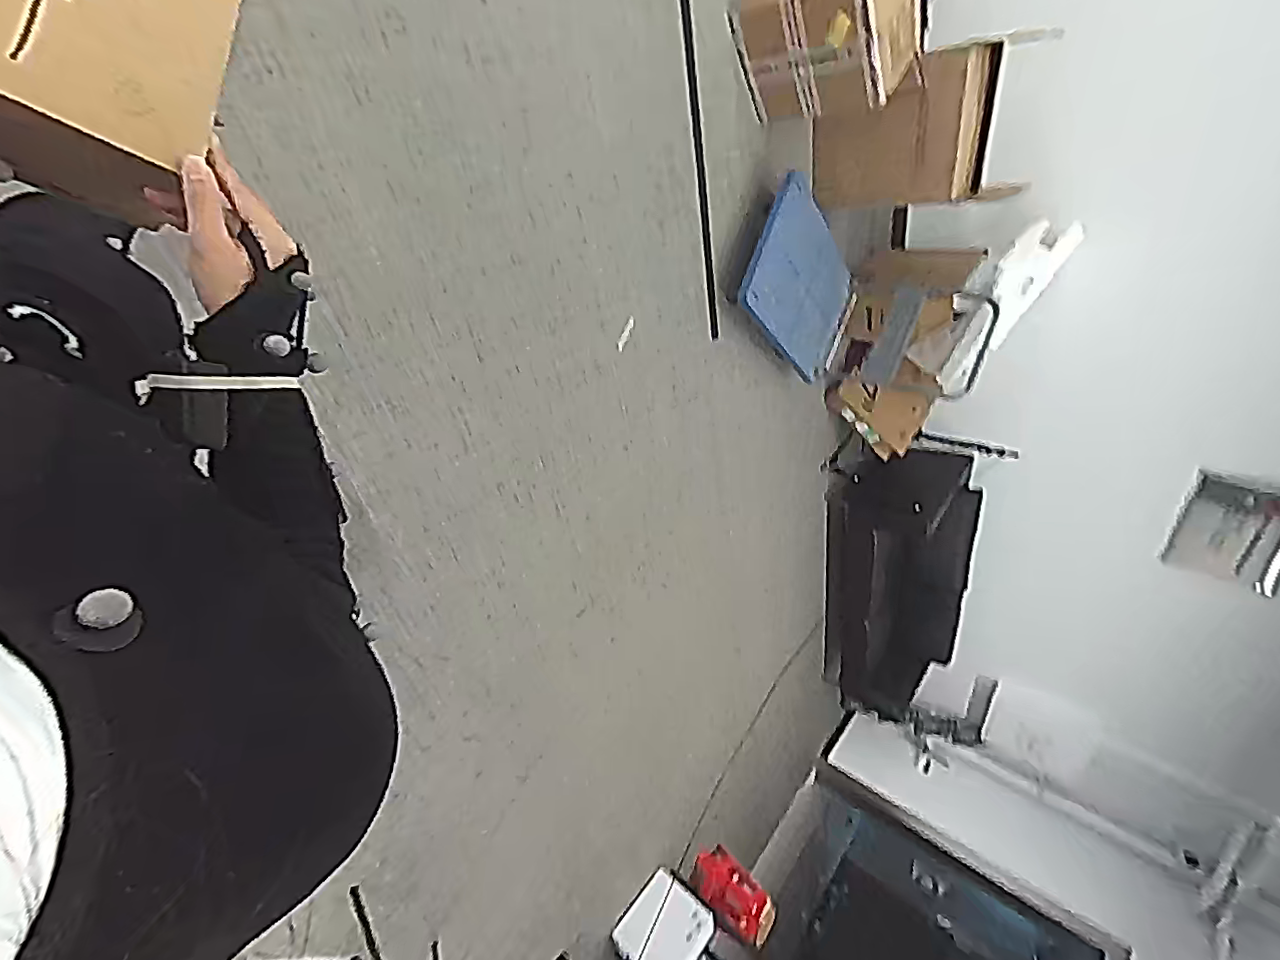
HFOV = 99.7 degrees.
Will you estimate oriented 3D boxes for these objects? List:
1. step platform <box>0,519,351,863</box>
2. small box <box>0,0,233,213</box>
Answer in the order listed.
[{"bbox_3d":[-0.968,0.376,1.086,0.684,0.204,0.286,-38,132,-35],"label":"step platform"},{"bbox_3d":[-0.388,-0.307,0.344,0.168,0.176,0.179,15,85,-50],"label":"small box"}]
